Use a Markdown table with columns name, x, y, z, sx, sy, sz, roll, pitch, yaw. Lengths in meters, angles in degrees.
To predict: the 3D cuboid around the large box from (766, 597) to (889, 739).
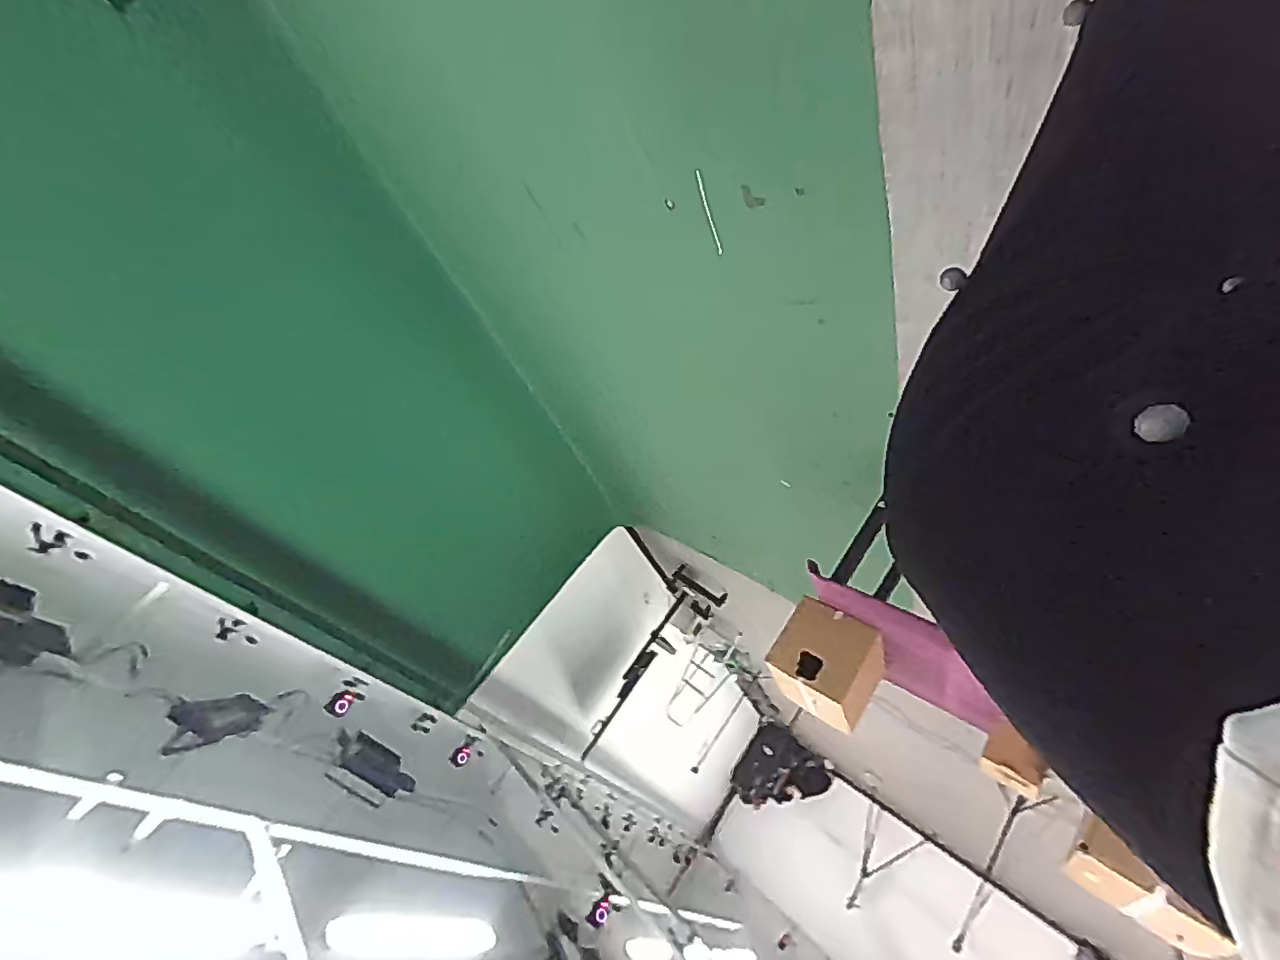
| name | x | y | z | sx | sy | sz | roll | pitch | yaw |
| --- | --- | --- | --- | --- | --- | --- | --- | --- | --- |
| large box | 0.744 | 0.730 | 2.107 | 0.320 | 0.320 | 0.408 | 21 | 153 | 39 |
